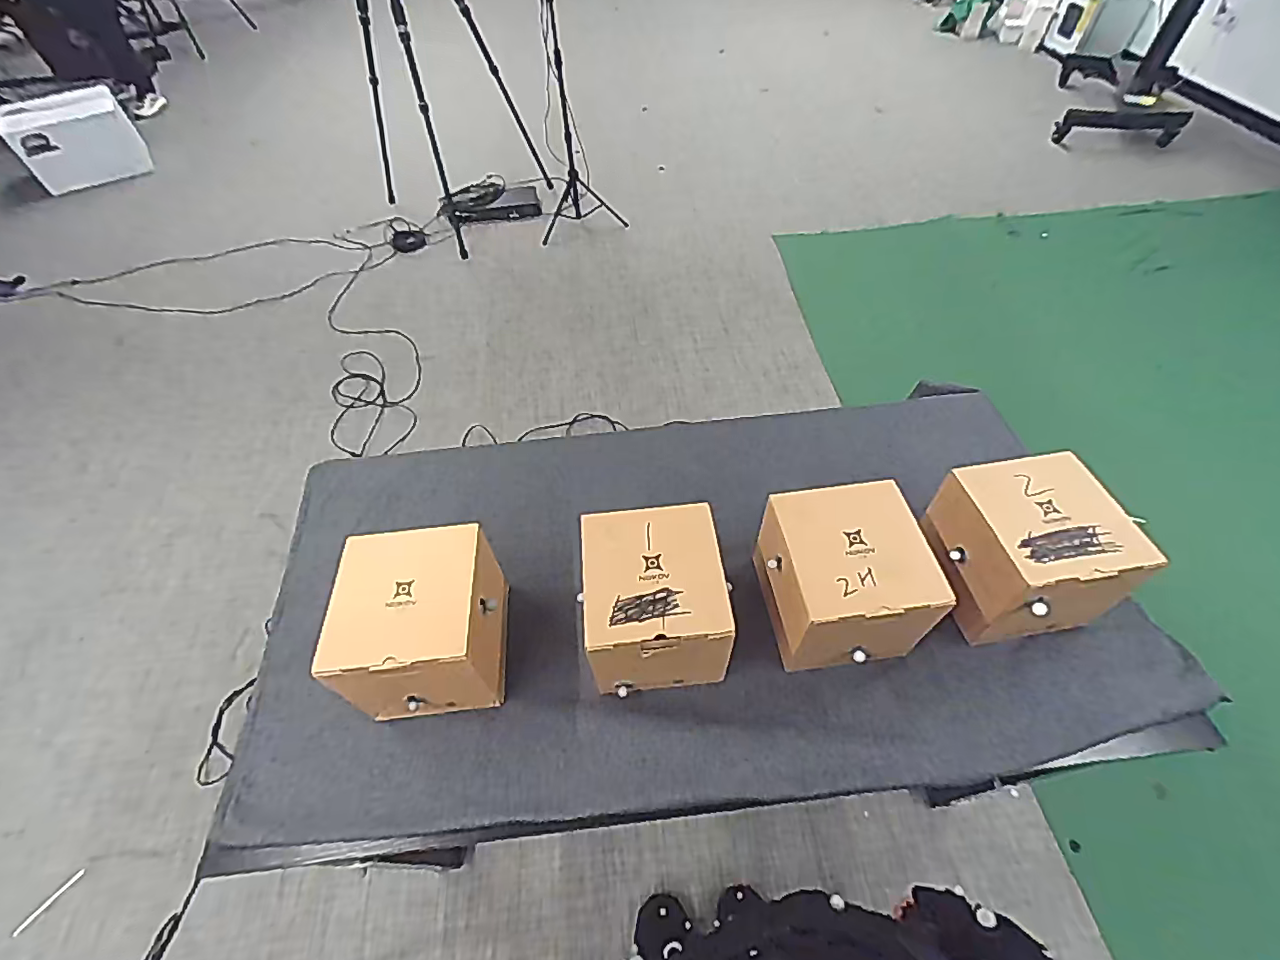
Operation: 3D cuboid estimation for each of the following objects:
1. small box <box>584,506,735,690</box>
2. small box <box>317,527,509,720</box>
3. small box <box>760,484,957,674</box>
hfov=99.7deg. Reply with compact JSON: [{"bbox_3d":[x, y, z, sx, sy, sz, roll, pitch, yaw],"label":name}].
[{"bbox_3d":[0.021,0.157,0.693,0.168,0.176,0.179,-5,52,-2],"label":"small box"},{"bbox_3d":[-0.267,0.183,0.686,0.168,0.176,0.179,-6,51,-3],"label":"small box"},{"bbox_3d":[0.261,0.130,0.702,0.168,0.176,0.179,-8,52,-1],"label":"small box"}]
